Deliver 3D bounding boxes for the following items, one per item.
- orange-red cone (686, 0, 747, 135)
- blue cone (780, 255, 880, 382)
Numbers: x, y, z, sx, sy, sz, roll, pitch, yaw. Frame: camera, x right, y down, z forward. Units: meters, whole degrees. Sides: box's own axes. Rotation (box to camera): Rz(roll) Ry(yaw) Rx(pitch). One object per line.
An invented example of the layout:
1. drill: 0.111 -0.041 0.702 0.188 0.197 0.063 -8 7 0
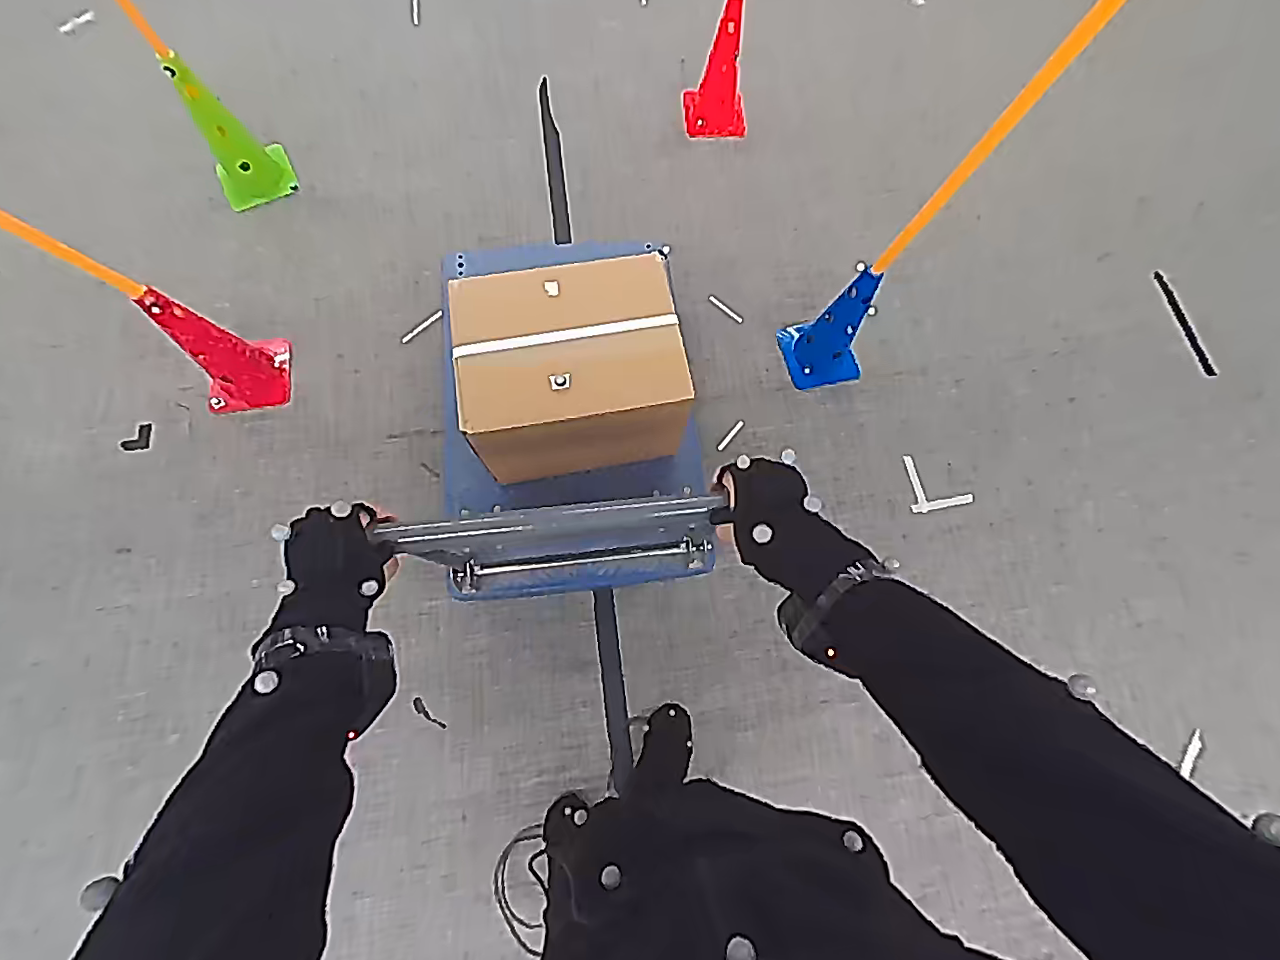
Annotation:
1. orange-red cone: 0.260 -1.264 1.614 0.199 0.360 0.198 -1 73 -4
2. blue cone: 0.516 -0.421 1.381 0.193 0.380 0.192 -11 72 -7
